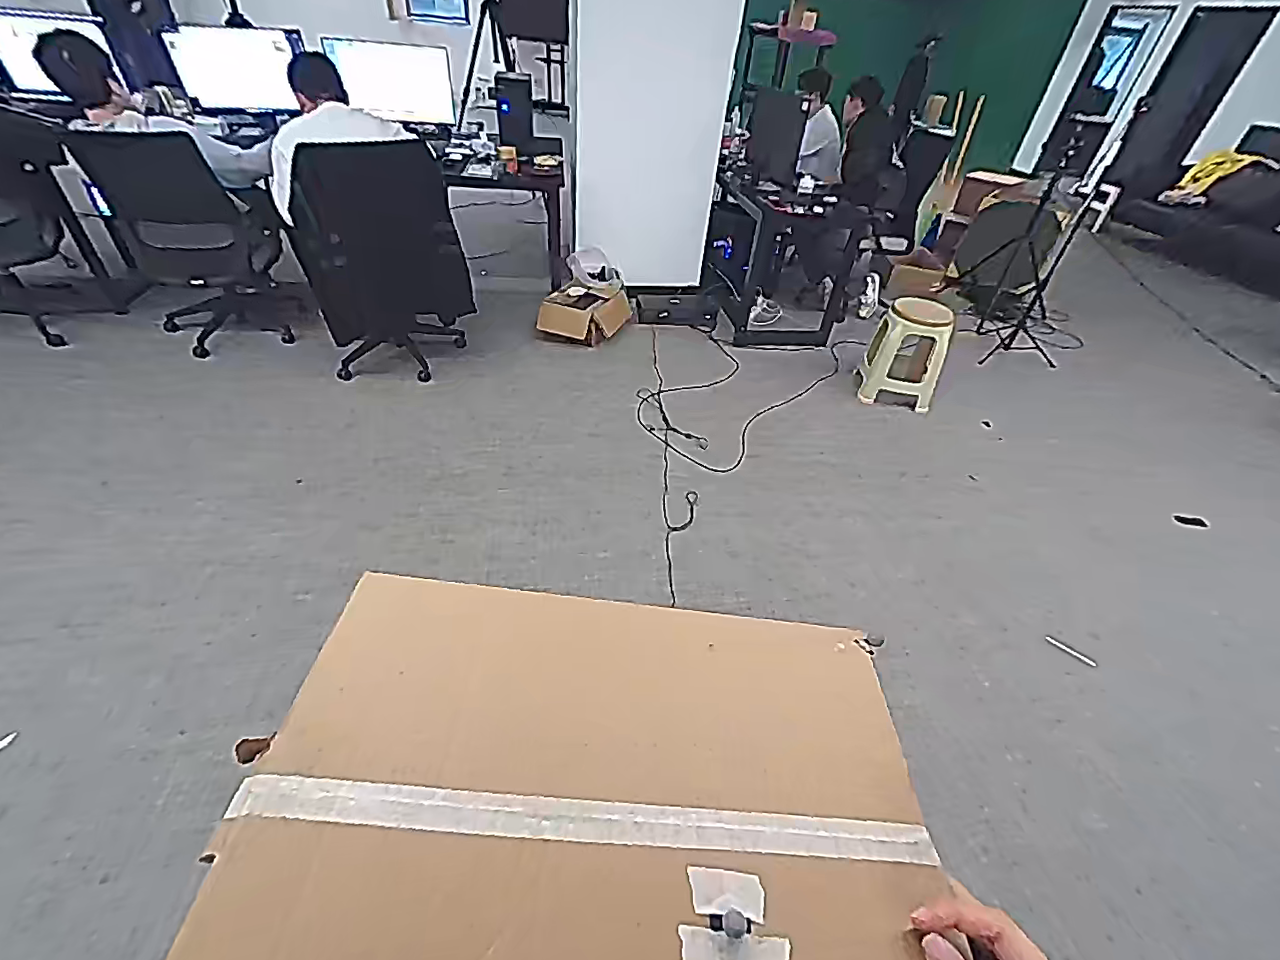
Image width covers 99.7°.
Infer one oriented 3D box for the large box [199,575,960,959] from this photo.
[{"bbox_3d":[-0.040,0.311,0.431,0.408,0.320,0.320,9,42,-6],"label":"large box"}]
